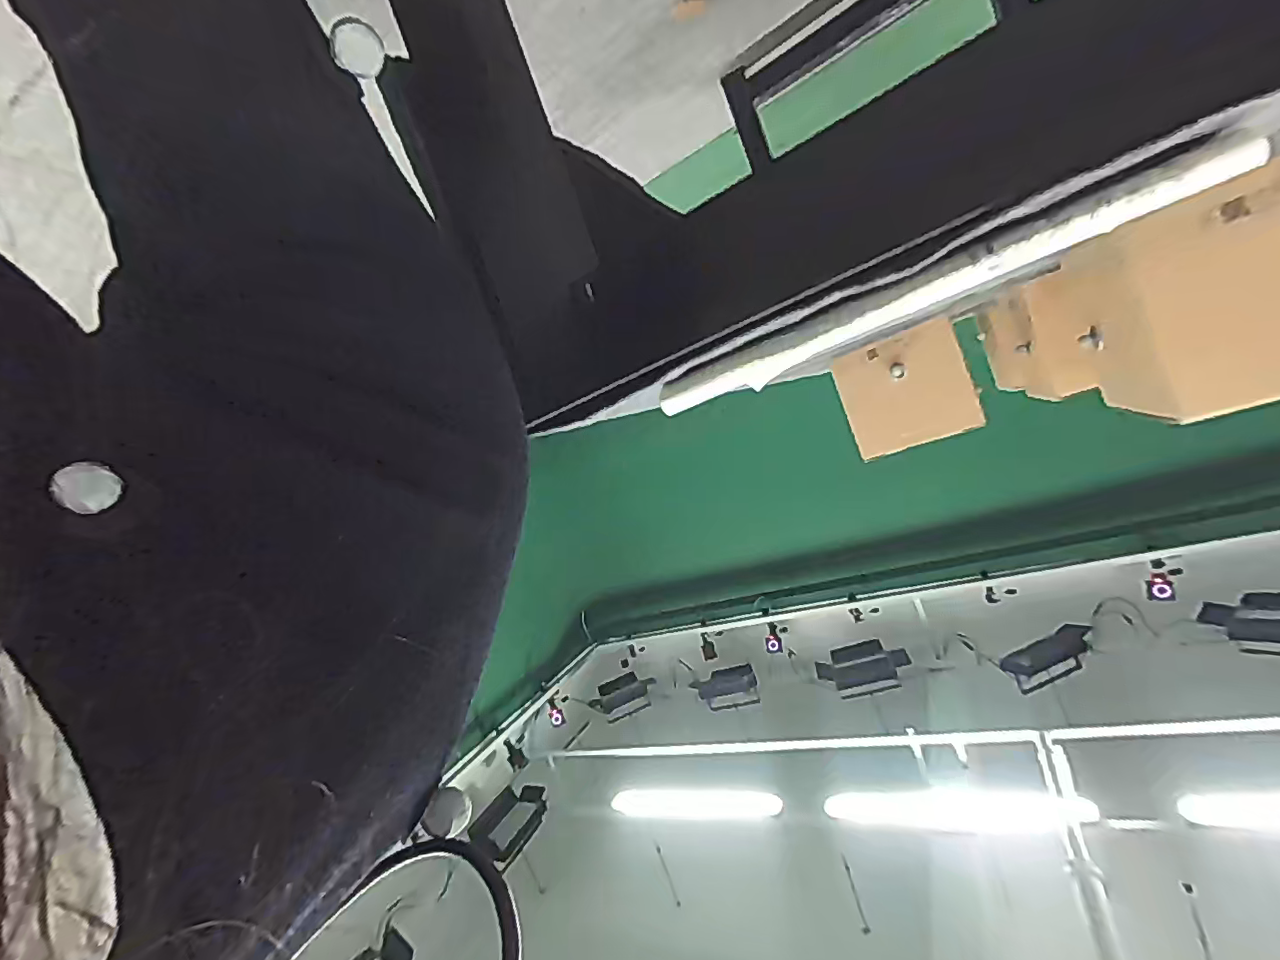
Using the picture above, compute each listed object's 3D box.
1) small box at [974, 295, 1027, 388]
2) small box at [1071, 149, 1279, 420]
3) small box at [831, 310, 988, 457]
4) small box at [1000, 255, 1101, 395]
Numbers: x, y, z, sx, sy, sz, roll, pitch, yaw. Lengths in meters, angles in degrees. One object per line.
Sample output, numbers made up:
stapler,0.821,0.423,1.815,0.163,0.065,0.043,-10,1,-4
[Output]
small box,0.742,-0.280,0.987,0.179,0.176,0.168,-19,-178,27
small box,0.492,-0.164,0.446,0.168,0.176,0.179,-19,-176,28
small box,0.413,-0.151,0.843,0.168,0.176,0.179,-20,-179,29
small box,0.618,-0.226,0.730,0.179,0.176,0.168,-20,-178,26
